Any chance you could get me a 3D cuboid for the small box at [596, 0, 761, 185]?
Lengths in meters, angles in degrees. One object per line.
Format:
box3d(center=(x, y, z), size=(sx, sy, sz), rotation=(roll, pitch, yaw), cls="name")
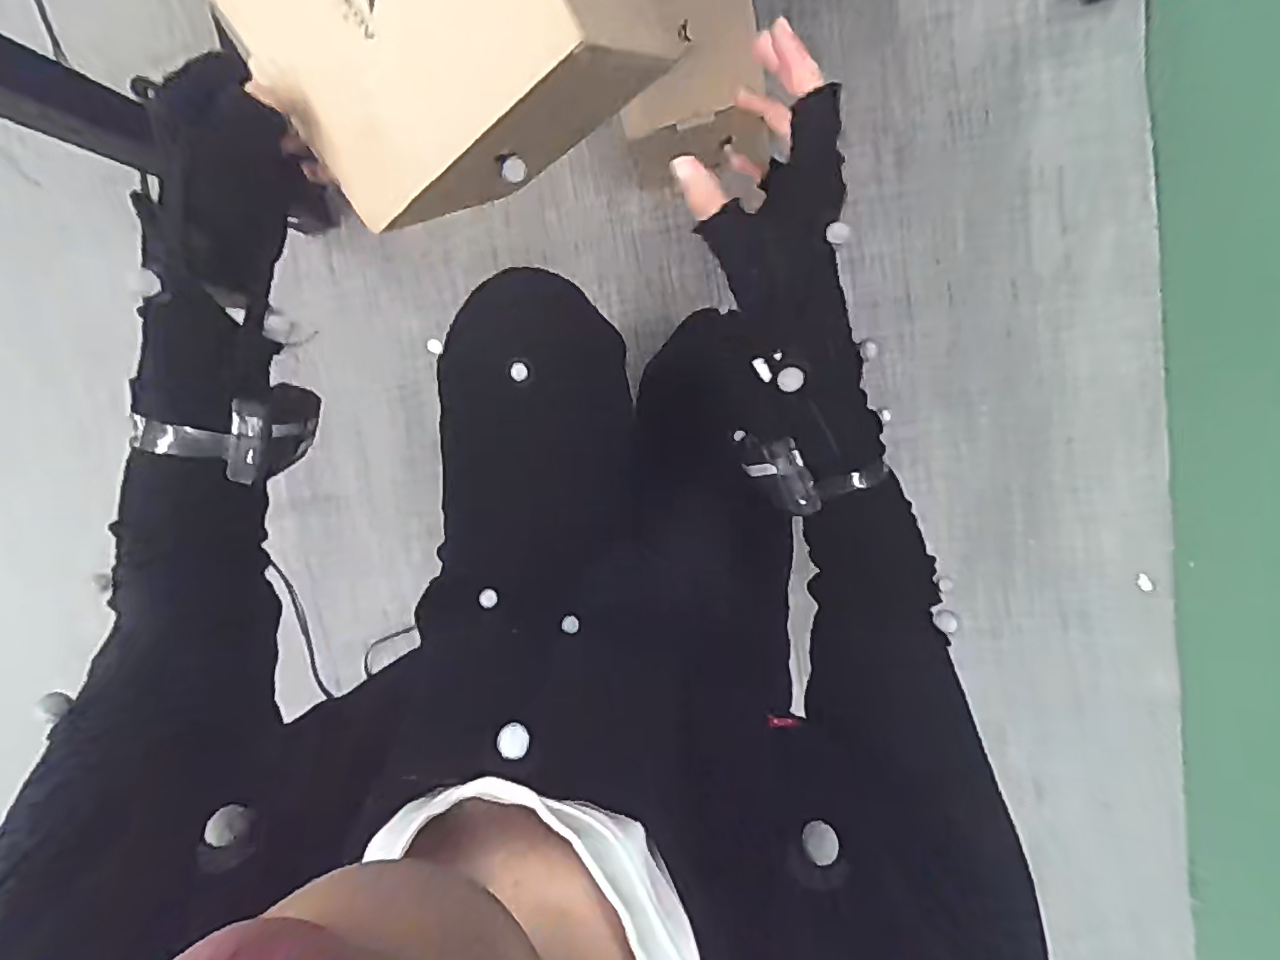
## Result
box3d(center=(0.055, -0.503, 0.685), size=(0.168, 0.176, 0.179), rotation=(-11, 95, 10), cls="small box")
